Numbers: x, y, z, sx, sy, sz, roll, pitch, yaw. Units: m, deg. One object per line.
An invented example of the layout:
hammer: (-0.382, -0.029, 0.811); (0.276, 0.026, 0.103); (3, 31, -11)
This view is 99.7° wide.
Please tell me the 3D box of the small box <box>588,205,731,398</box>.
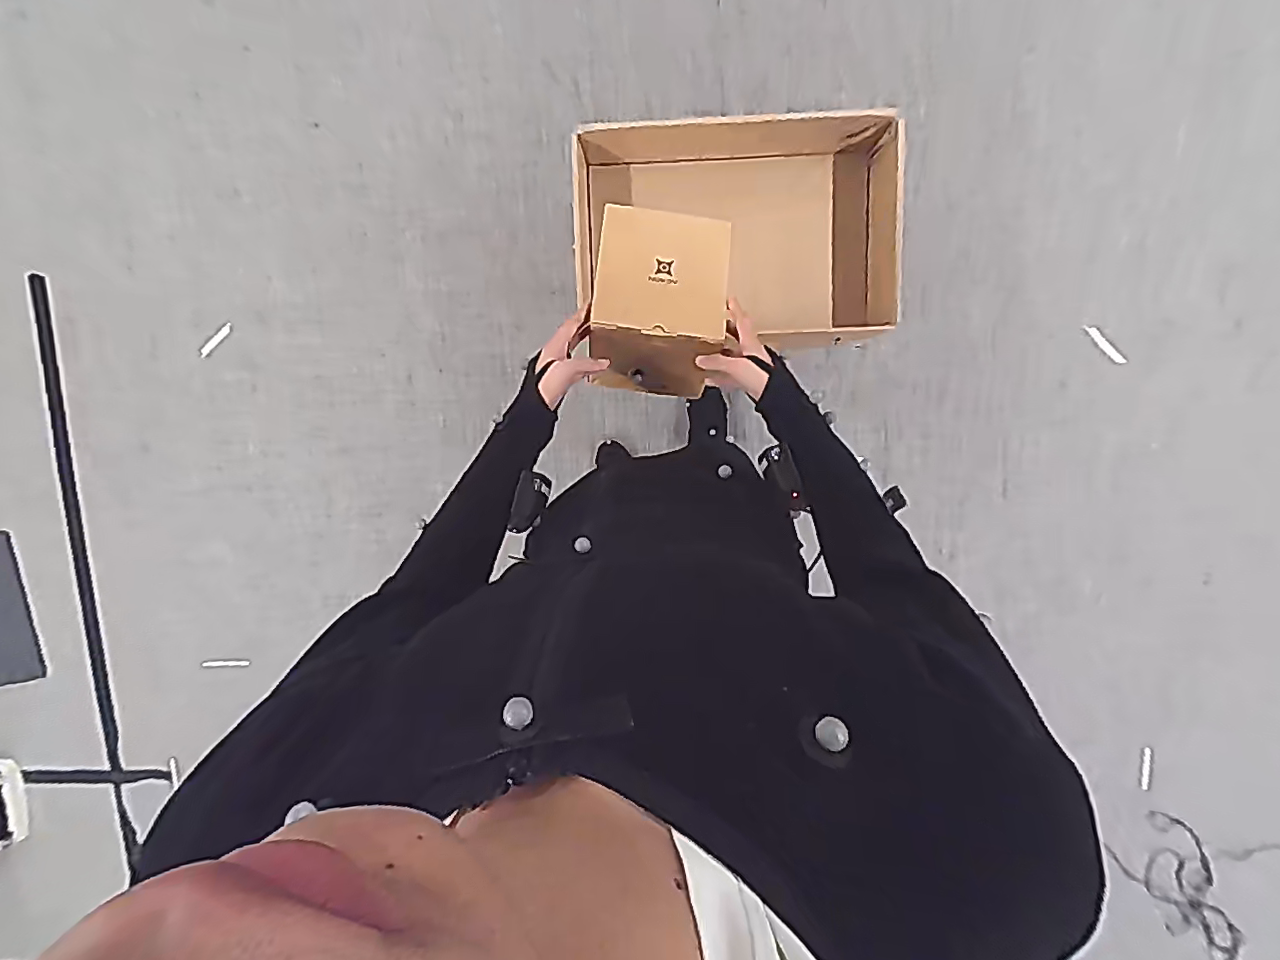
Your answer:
small box: (0.019, -0.233, 0.738); (0.168, 0.176, 0.179); (6, 75, -4)
